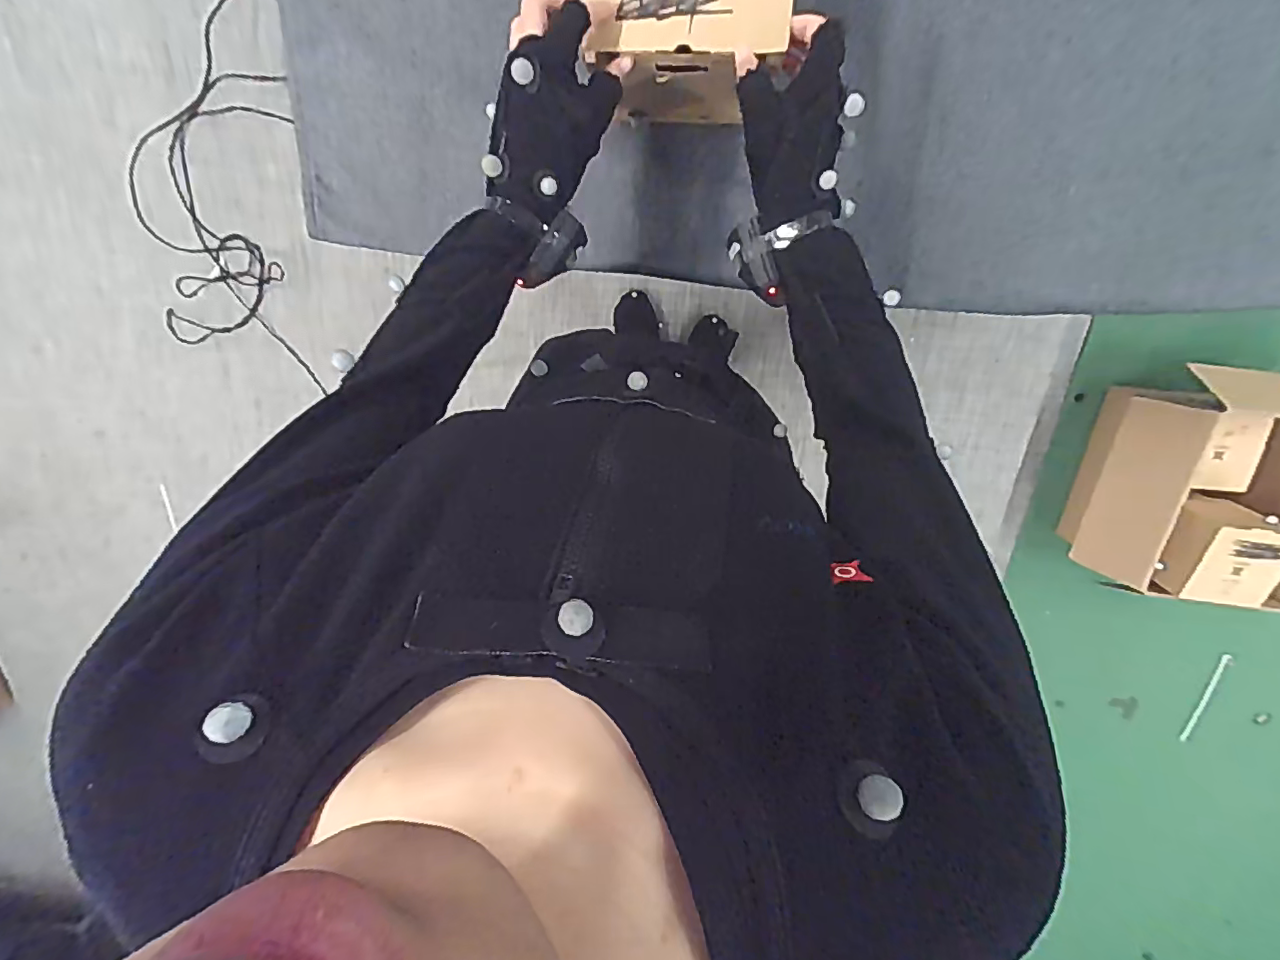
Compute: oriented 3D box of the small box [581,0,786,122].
[{"bbox_3d":[0.045,-0.446,0.488,0.168,0.176,0.179,4,109,4],"label":"small box"}]
